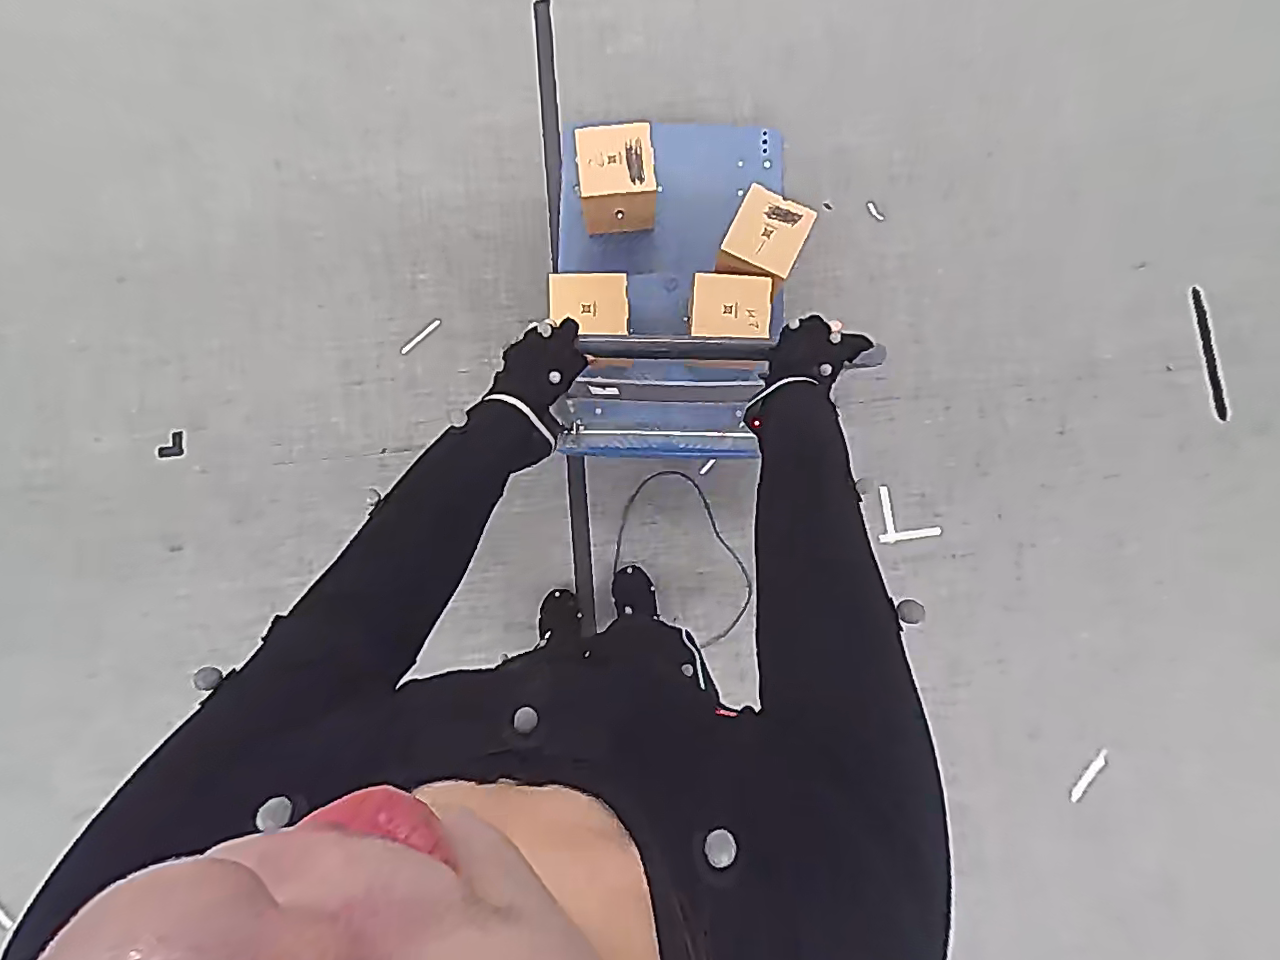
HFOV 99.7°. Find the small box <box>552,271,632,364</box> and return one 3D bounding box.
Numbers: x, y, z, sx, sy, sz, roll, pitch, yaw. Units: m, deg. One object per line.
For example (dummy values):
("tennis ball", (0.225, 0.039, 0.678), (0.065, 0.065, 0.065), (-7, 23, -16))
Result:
("small box", (-0.109, -0.378, 1.279), (0.179, 0.176, 0.168), (-1, 86, -1))

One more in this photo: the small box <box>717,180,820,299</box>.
("small box", (0.295, -0.560, 1.291), (0.168, 0.176, 0.179), (26, 87, 2))

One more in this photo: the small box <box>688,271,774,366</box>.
("small box", (0.208, -0.374, 1.276), (0.179, 0.176, 0.168), (4, 86, 1))
